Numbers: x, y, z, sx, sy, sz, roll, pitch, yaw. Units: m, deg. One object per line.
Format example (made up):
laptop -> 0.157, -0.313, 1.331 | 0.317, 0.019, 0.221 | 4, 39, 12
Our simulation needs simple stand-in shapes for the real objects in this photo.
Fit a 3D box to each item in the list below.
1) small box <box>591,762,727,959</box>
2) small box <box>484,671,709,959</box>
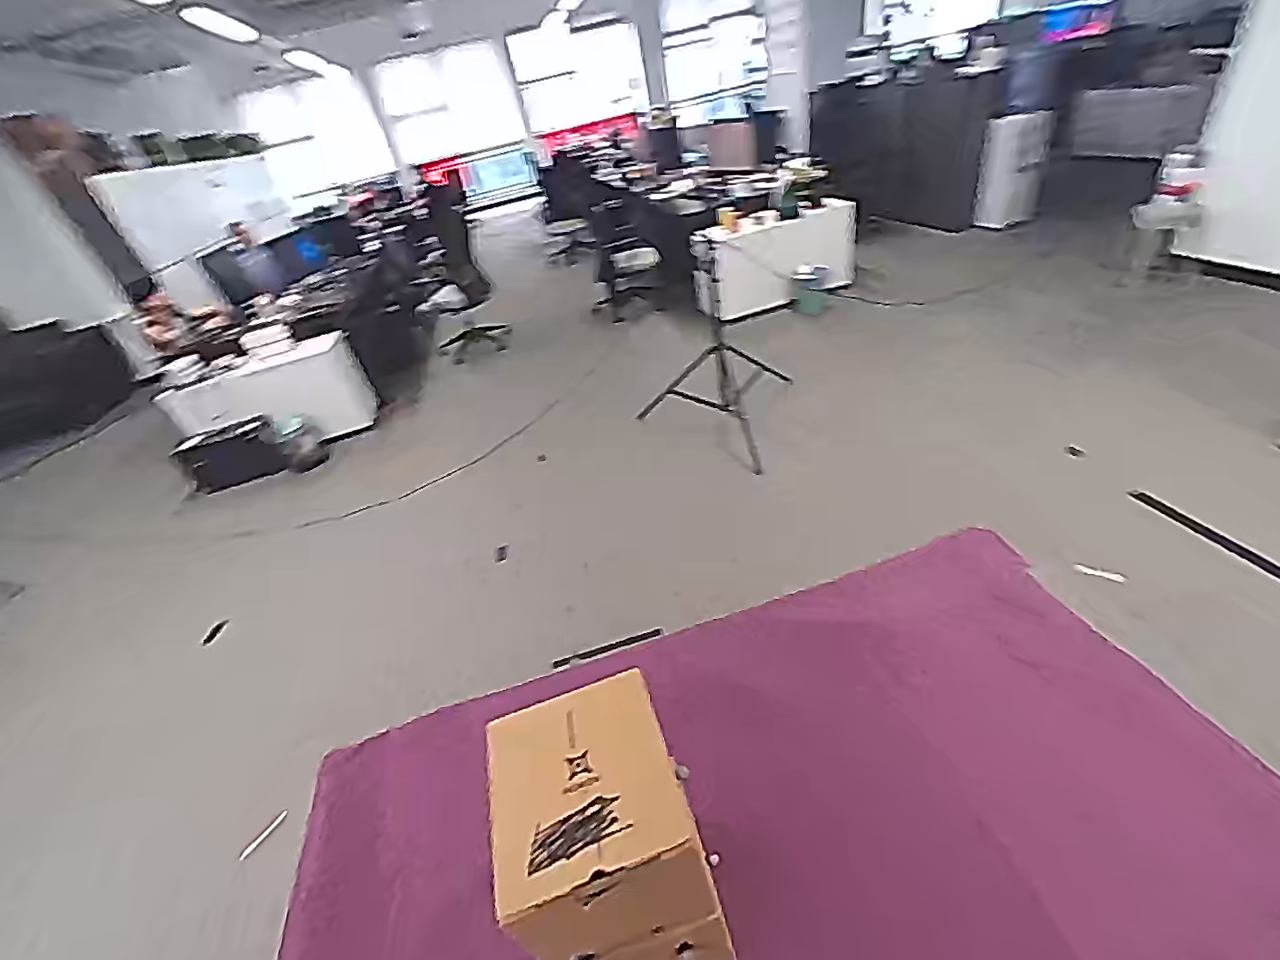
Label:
small box -> -0.008, 0.467, 0.621 | 0.179, 0.176, 0.168 | -18, 35, -5
small box -> -0.042, 0.333, 0.533 | 0.168, 0.176, 0.179 | -18, 35, -7
